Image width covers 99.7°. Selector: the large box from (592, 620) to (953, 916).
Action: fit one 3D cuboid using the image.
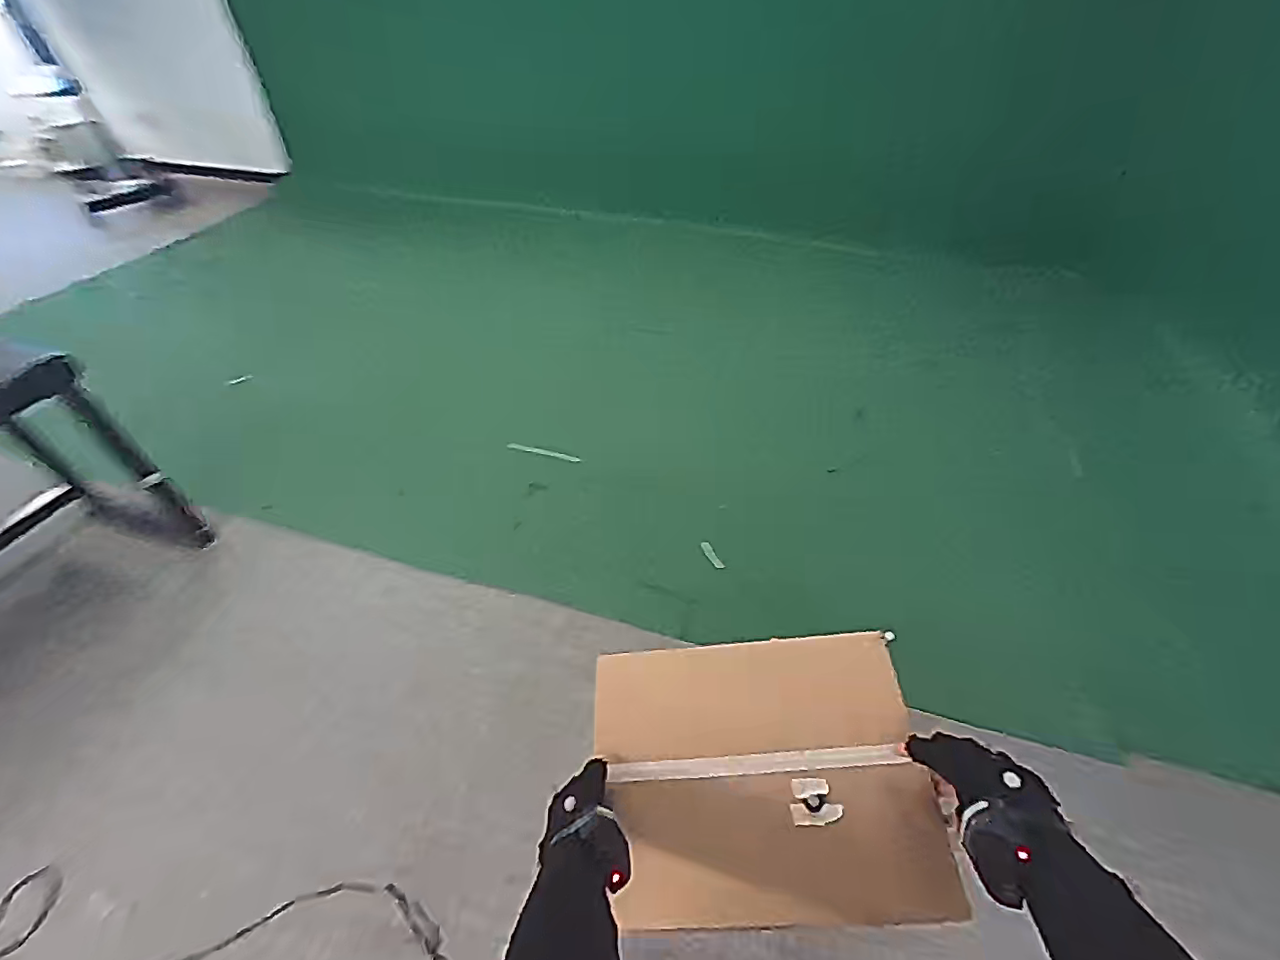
[{"bbox_3d":[0.154,0.434,0.799,0.408,0.320,0.320,-7,52,5],"label":"large box"}]
